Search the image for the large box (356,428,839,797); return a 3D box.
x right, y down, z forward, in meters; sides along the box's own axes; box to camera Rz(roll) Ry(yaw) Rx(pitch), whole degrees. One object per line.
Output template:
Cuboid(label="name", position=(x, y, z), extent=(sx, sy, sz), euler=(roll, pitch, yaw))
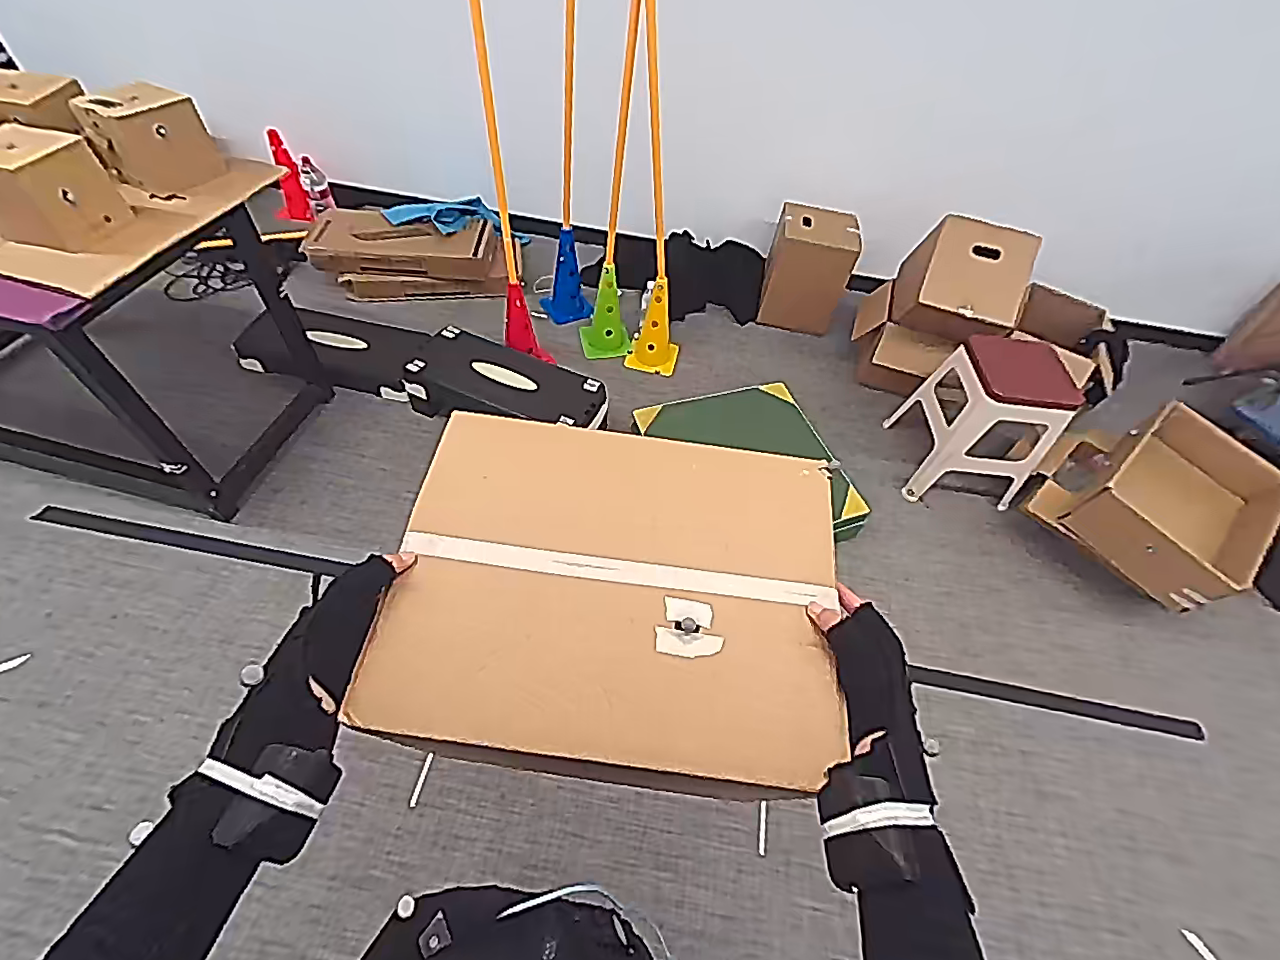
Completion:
Cuboid(label="large box", position=(-0.030, 0.172, 0.639), extent=(0.408, 0.320, 0.320), euler=(8, 59, 0))
